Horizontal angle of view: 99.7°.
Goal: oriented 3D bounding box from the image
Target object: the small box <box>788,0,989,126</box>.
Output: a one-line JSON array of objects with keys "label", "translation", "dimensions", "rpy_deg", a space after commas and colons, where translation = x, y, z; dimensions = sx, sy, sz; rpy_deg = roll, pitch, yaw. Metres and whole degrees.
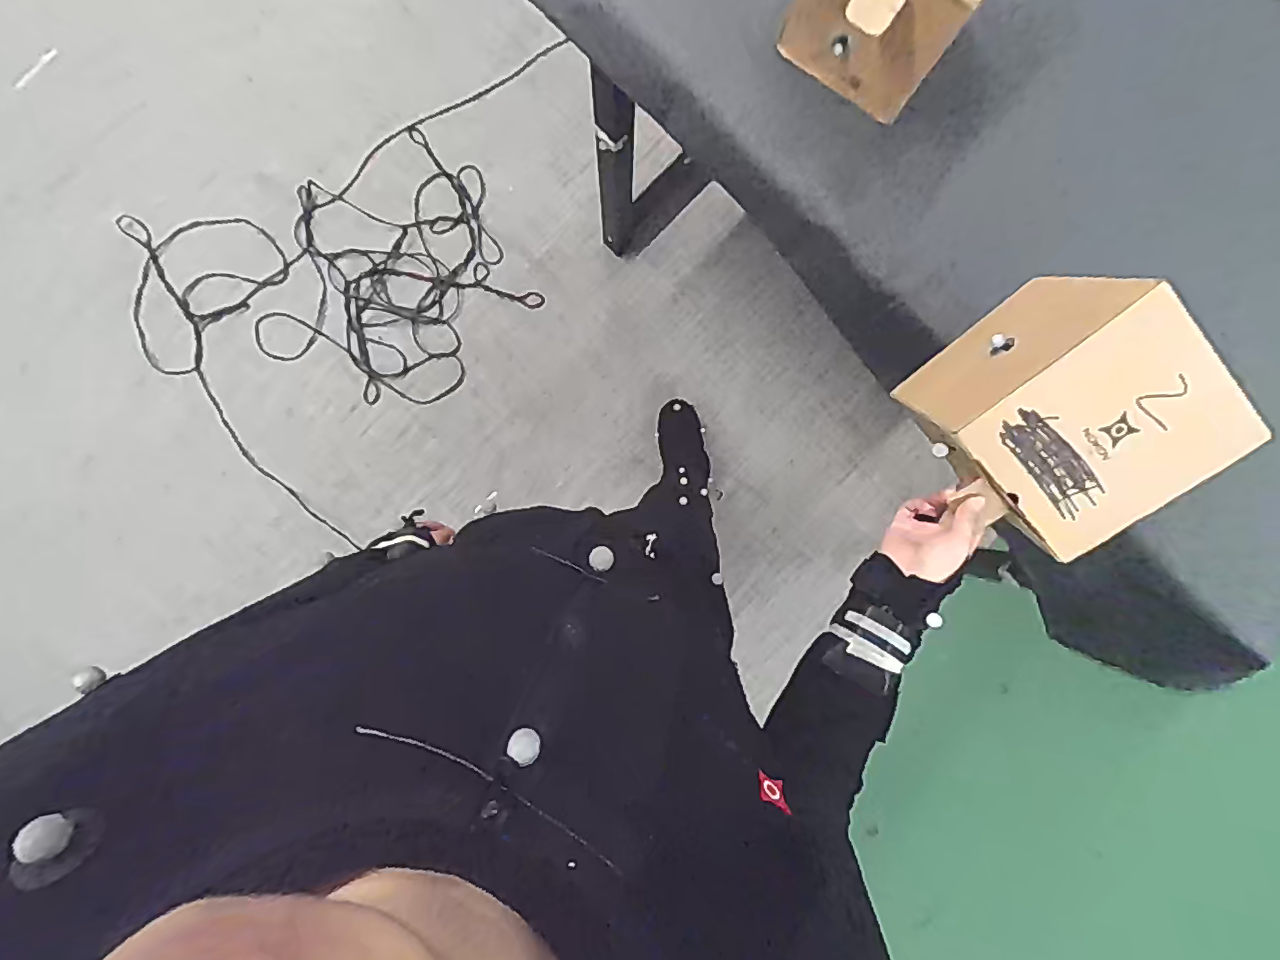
[{"label": "small box", "translation": [0.285, -0.540, 0.577], "dimensions": [0.168, 0.176, 0.179], "rpy_deg": [33, 88, -2]}]
